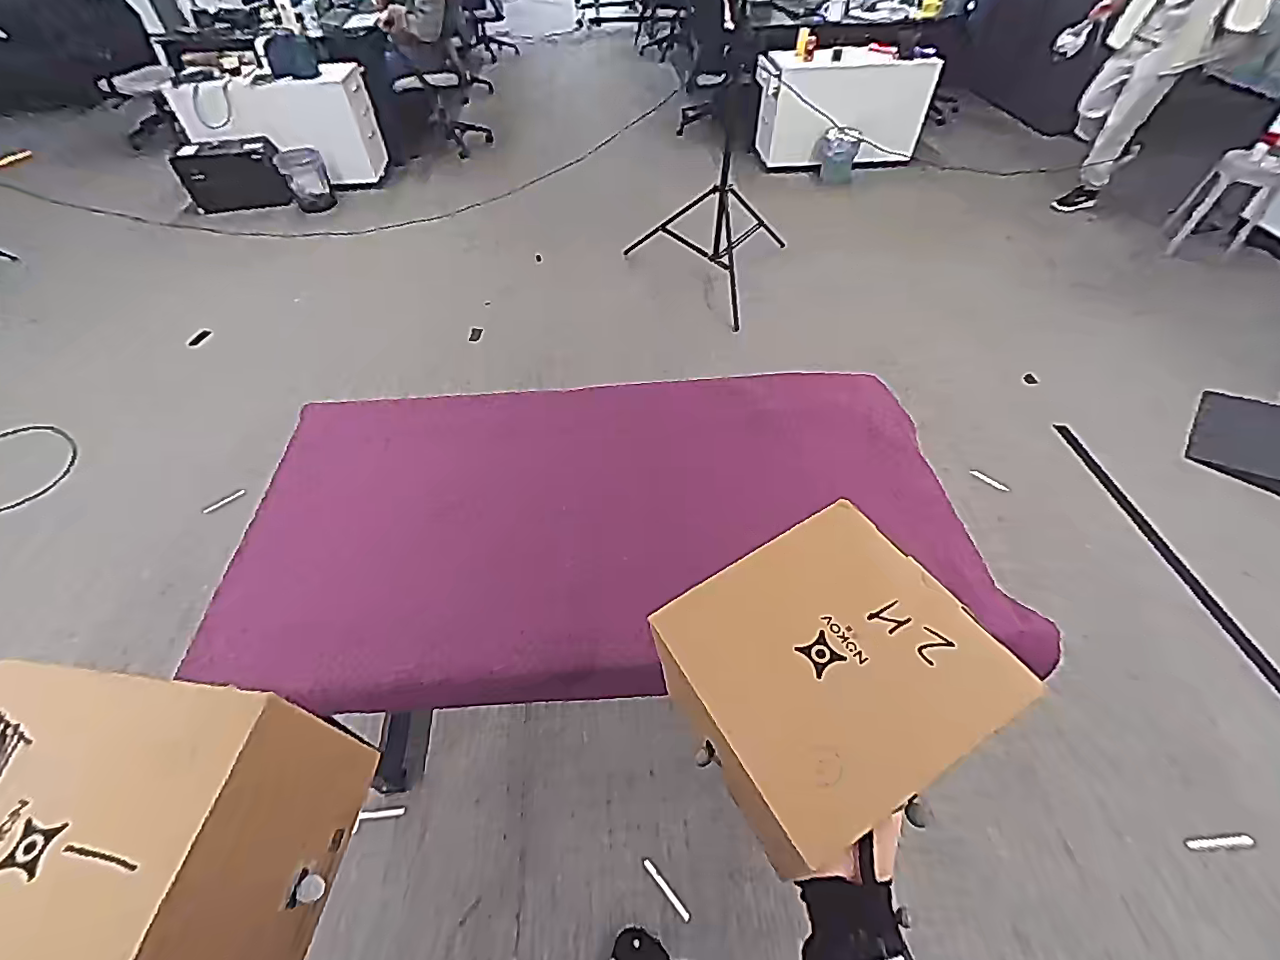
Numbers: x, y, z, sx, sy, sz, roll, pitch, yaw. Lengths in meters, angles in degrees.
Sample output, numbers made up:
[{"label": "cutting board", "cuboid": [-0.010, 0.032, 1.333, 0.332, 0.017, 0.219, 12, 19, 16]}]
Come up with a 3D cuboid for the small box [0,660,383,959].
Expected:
[{"label": "small box", "cuboid": [-0.298, 0.228, 0.332, 0.179, 0.176, 0.168, 6, 53, 4]}]

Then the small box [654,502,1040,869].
[{"label": "small box", "cuboid": [0.132, 0.155, 0.403, 0.179, 0.176, 0.168, -28, 54, -14]}]
